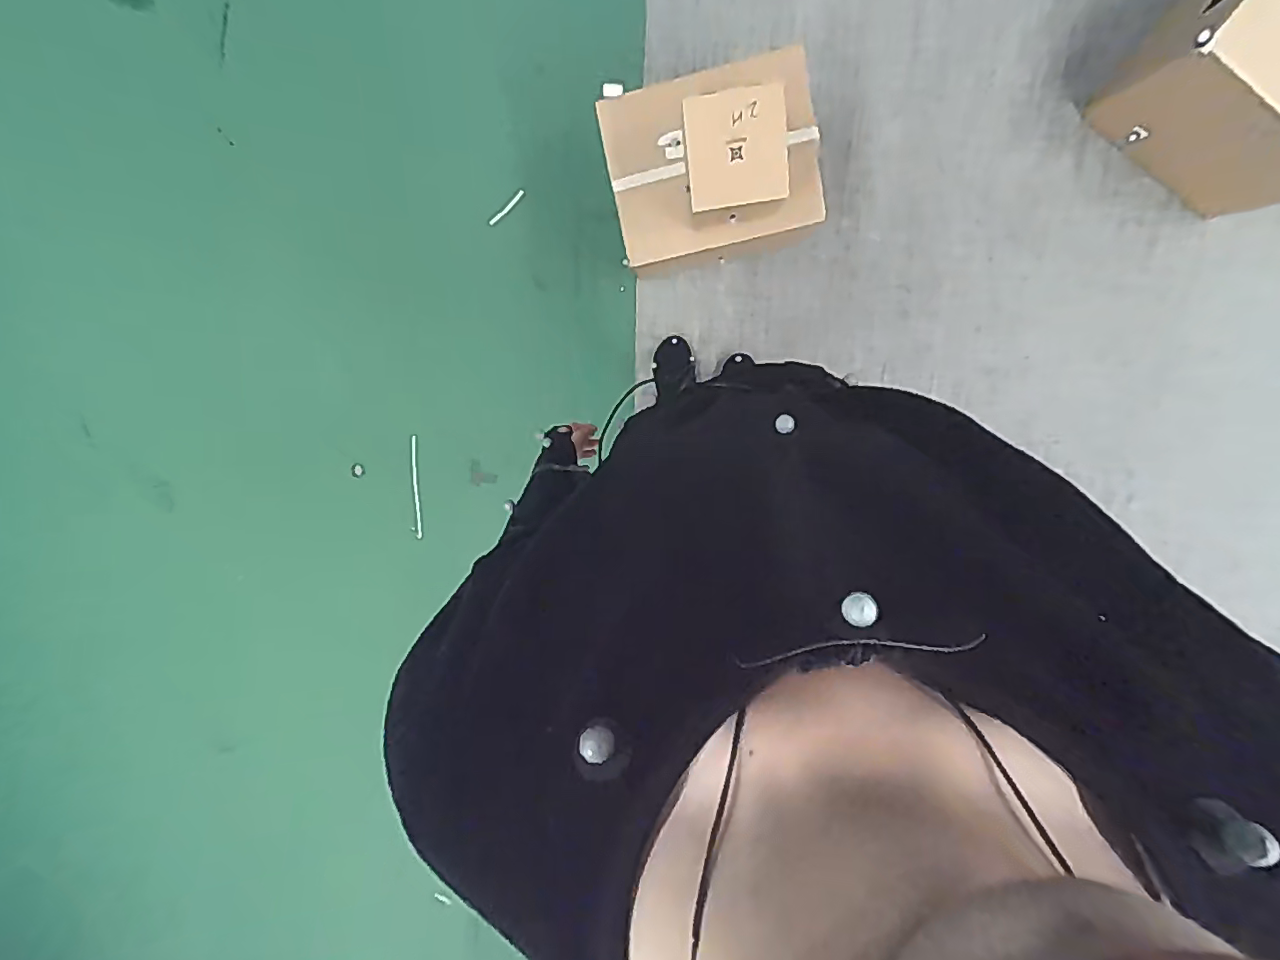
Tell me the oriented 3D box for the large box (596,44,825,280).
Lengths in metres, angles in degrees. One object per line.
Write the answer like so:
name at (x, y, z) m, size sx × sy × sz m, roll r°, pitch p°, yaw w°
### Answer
large box at (0.155, -0.656, 1.193) m, size 0.408 × 0.320 × 0.320 m, roll -11°, pitch 103°, yaw 9°

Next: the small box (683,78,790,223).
small box at (0.166, -0.568, 0.959) m, size 0.168 × 0.176 × 0.179 m, roll -6°, pitch 105°, yaw 5°
